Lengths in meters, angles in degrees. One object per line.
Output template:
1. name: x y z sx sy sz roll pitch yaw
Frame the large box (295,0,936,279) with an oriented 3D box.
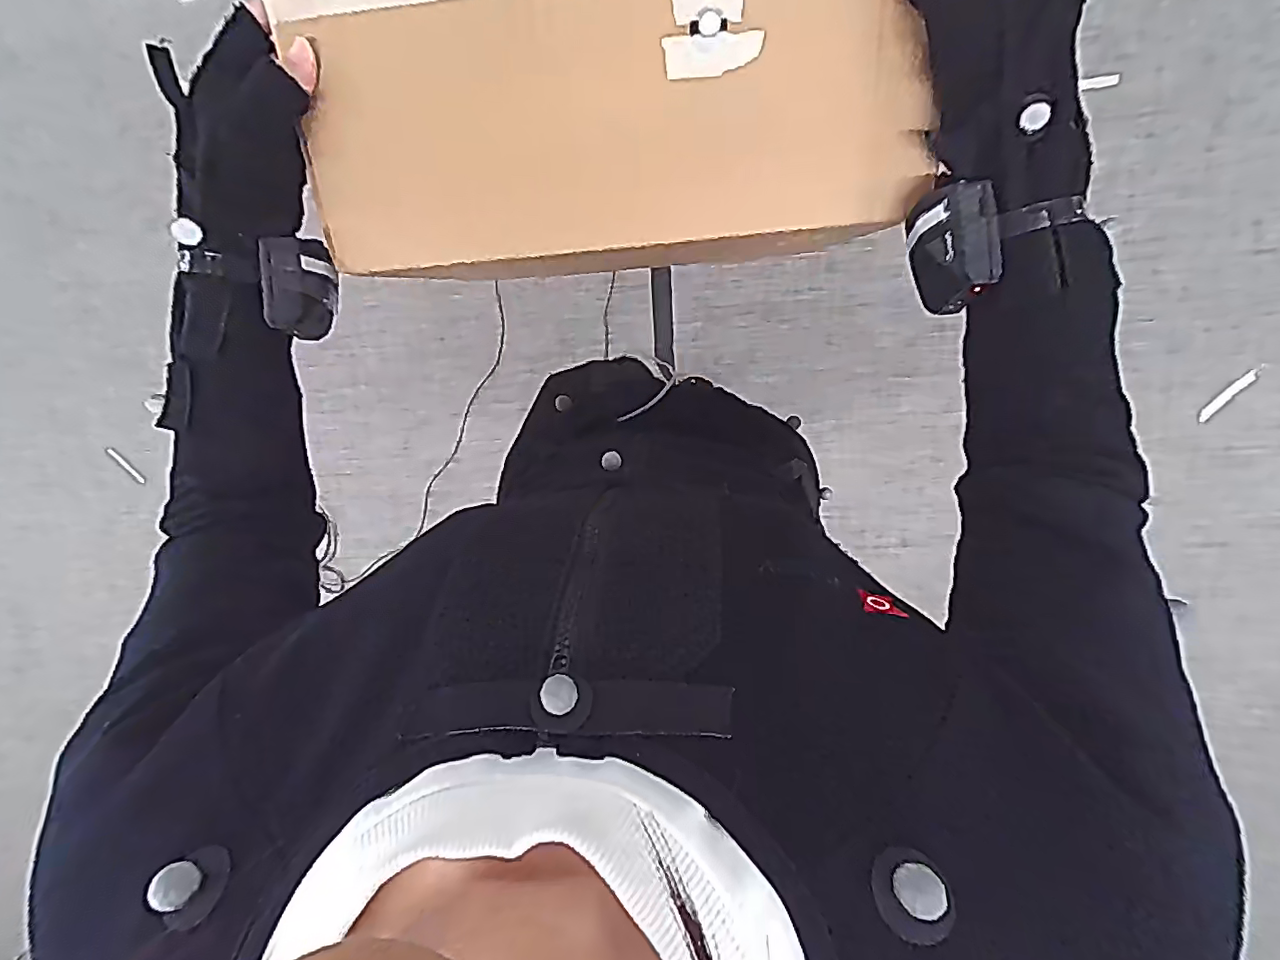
1. large box: -0.015 -0.361 0.467 0.408 0.320 0.320 -4 110 5
